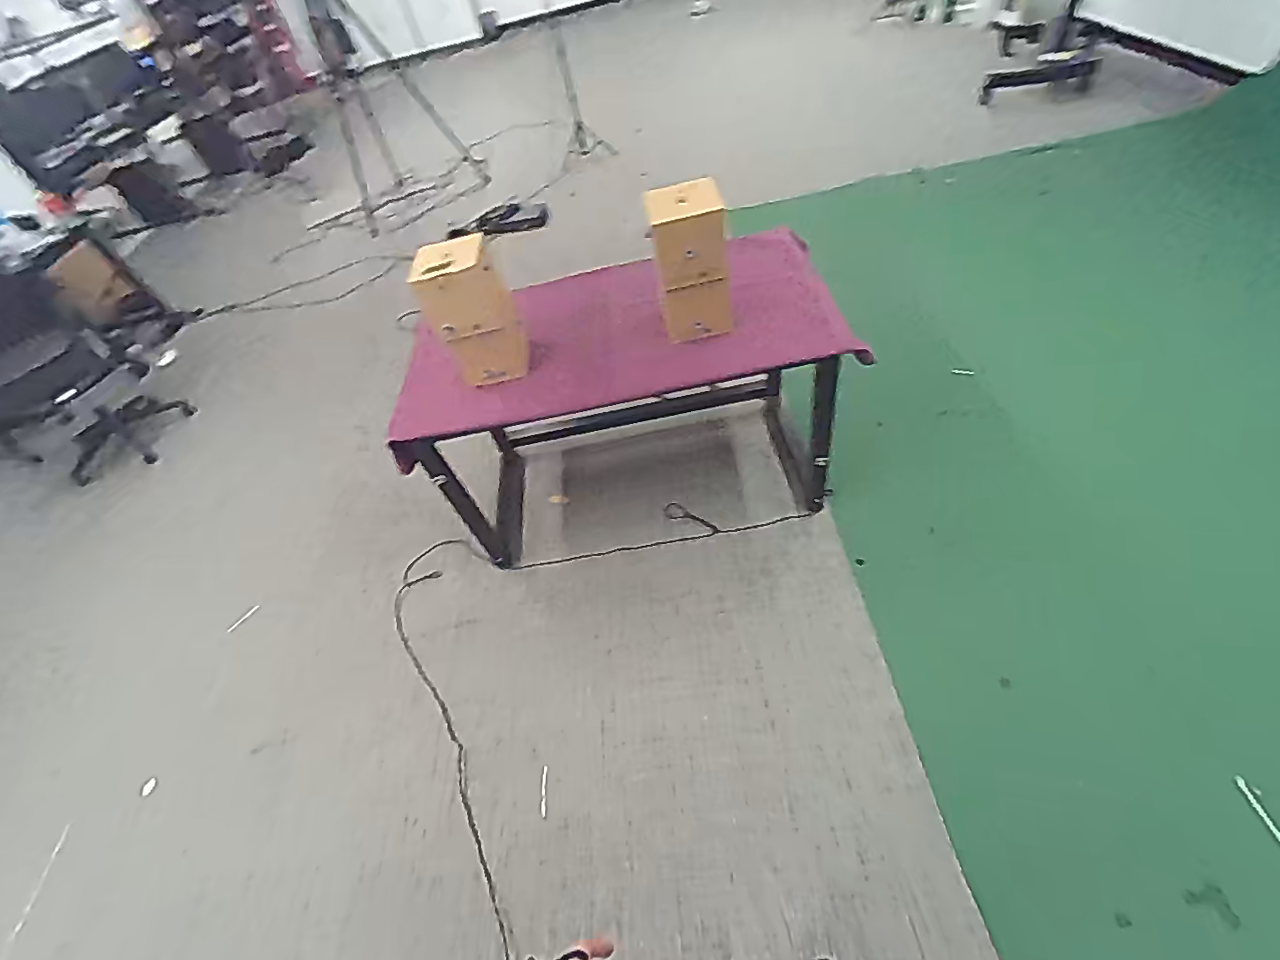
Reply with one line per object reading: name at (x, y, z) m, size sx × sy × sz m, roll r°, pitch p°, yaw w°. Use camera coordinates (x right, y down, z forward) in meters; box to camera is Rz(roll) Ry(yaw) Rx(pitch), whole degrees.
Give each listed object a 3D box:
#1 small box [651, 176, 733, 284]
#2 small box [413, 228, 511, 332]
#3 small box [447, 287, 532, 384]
small box at (0.125, -0.585, 1.282) m, size 0.168 × 0.176 × 0.179 m, roll -10°, pitch 50°, yaw 5°
small box at (-0.428, -0.483, 1.329) m, size 0.168 × 0.176 × 0.179 m, roll -11°, pitch 48°, yaw 5°
small box at (-0.397, -0.388, 1.459) m, size 0.168 × 0.176 × 0.179 m, roll -11°, pitch 50°, yaw 5°
